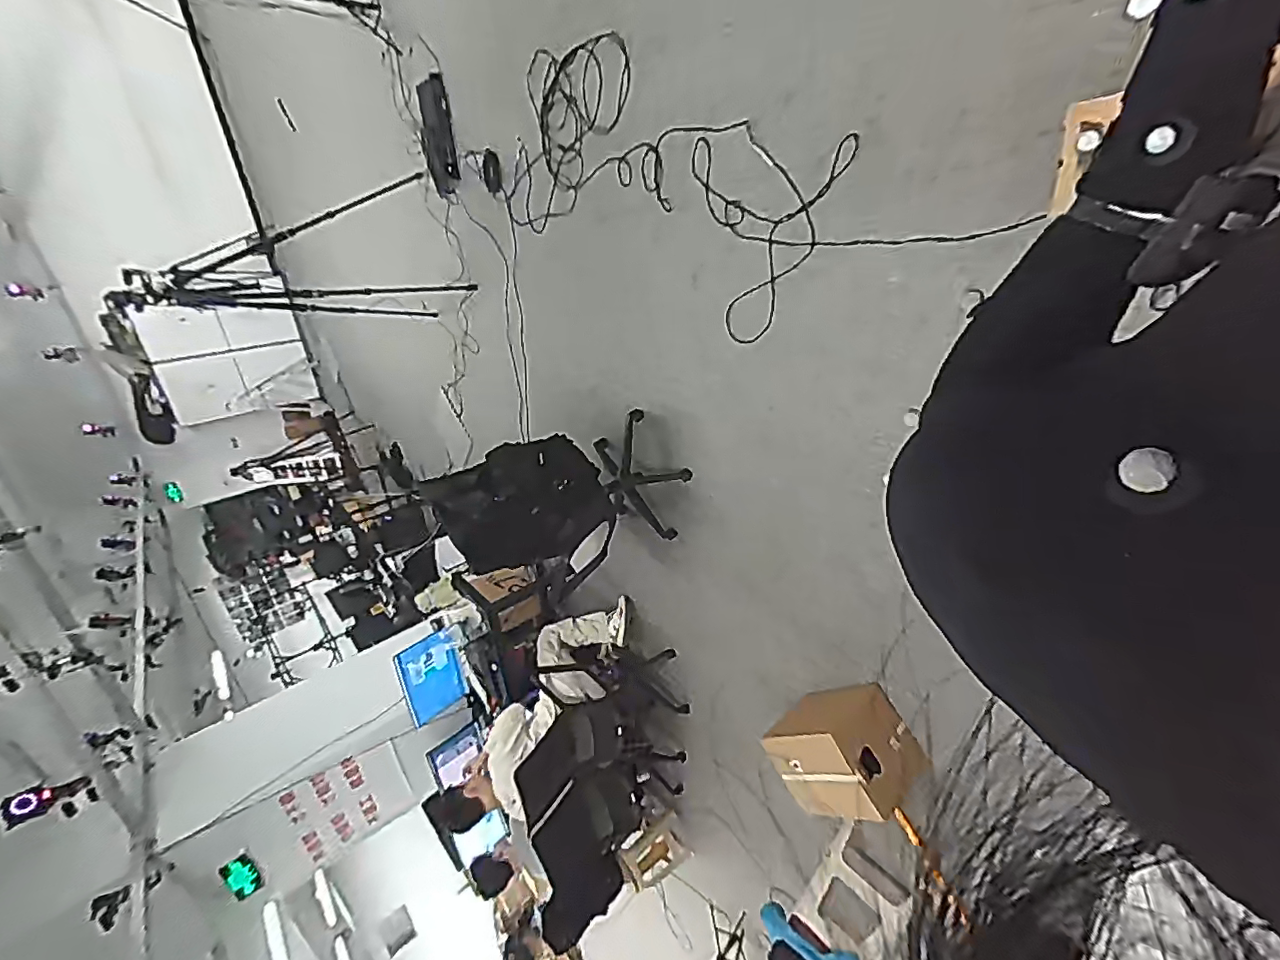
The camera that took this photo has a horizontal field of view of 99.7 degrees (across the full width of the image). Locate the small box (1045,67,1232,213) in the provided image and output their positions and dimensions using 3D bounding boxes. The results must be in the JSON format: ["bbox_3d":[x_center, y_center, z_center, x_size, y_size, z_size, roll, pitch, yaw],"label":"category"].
[{"bbox_3d":[0.790,-0.528,0.863,0.179,0.176,0.168,19,125,46],"label":"small box"}]

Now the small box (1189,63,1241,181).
[{"bbox_3d":[0.909,-0.600,0.951,0.179,0.176,0.168,16,122,49],"label":"small box"}]
